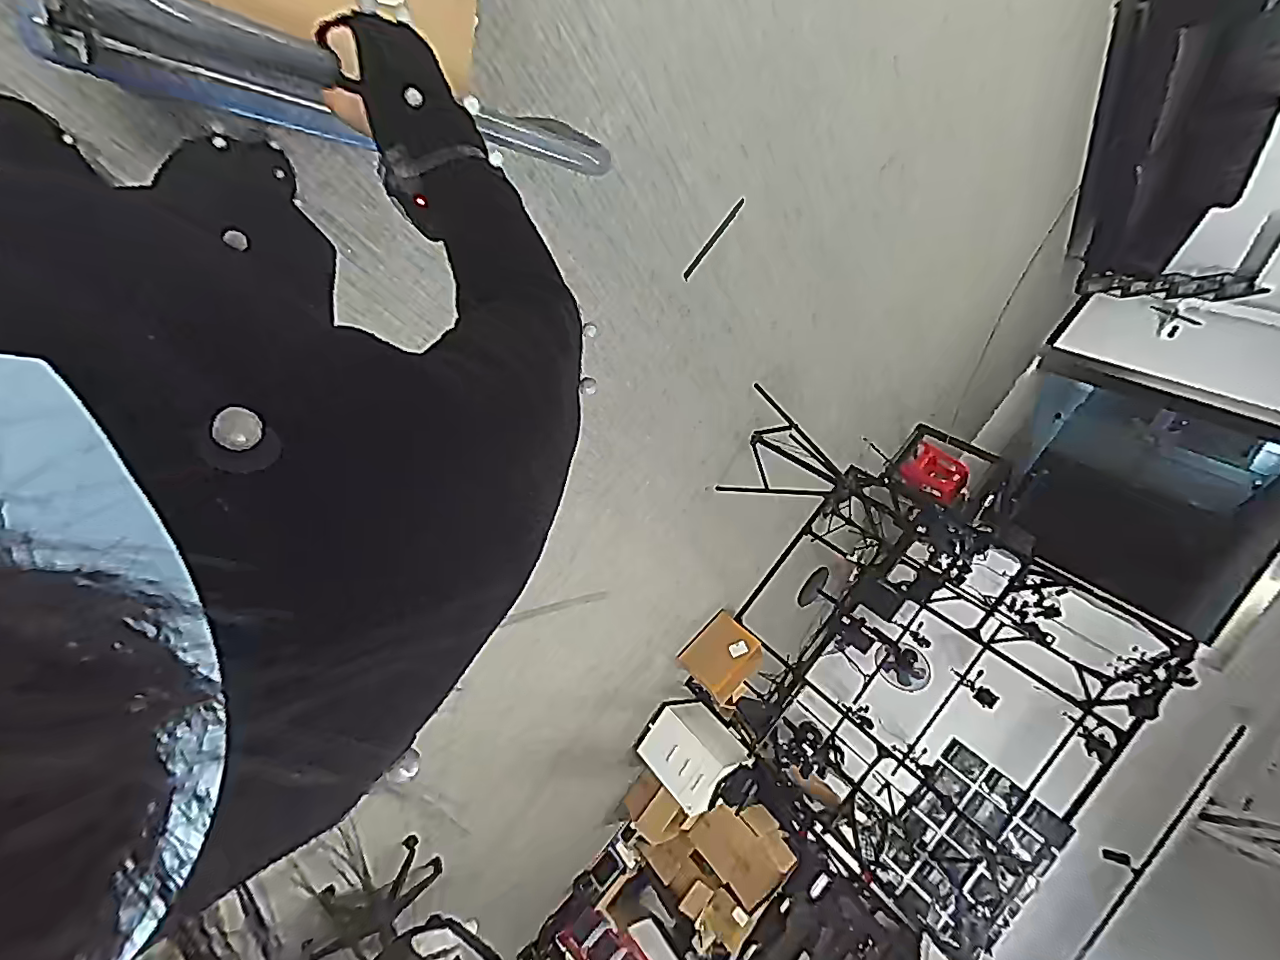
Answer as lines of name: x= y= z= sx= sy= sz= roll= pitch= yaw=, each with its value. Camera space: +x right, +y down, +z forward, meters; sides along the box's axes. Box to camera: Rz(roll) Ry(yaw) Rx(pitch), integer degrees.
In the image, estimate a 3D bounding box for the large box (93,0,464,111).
large box: x=-0.498 y=-0.755 z=0.747 sx=0.408 sy=0.320 sz=0.320 roll=-10 pitch=125 yaw=-44
